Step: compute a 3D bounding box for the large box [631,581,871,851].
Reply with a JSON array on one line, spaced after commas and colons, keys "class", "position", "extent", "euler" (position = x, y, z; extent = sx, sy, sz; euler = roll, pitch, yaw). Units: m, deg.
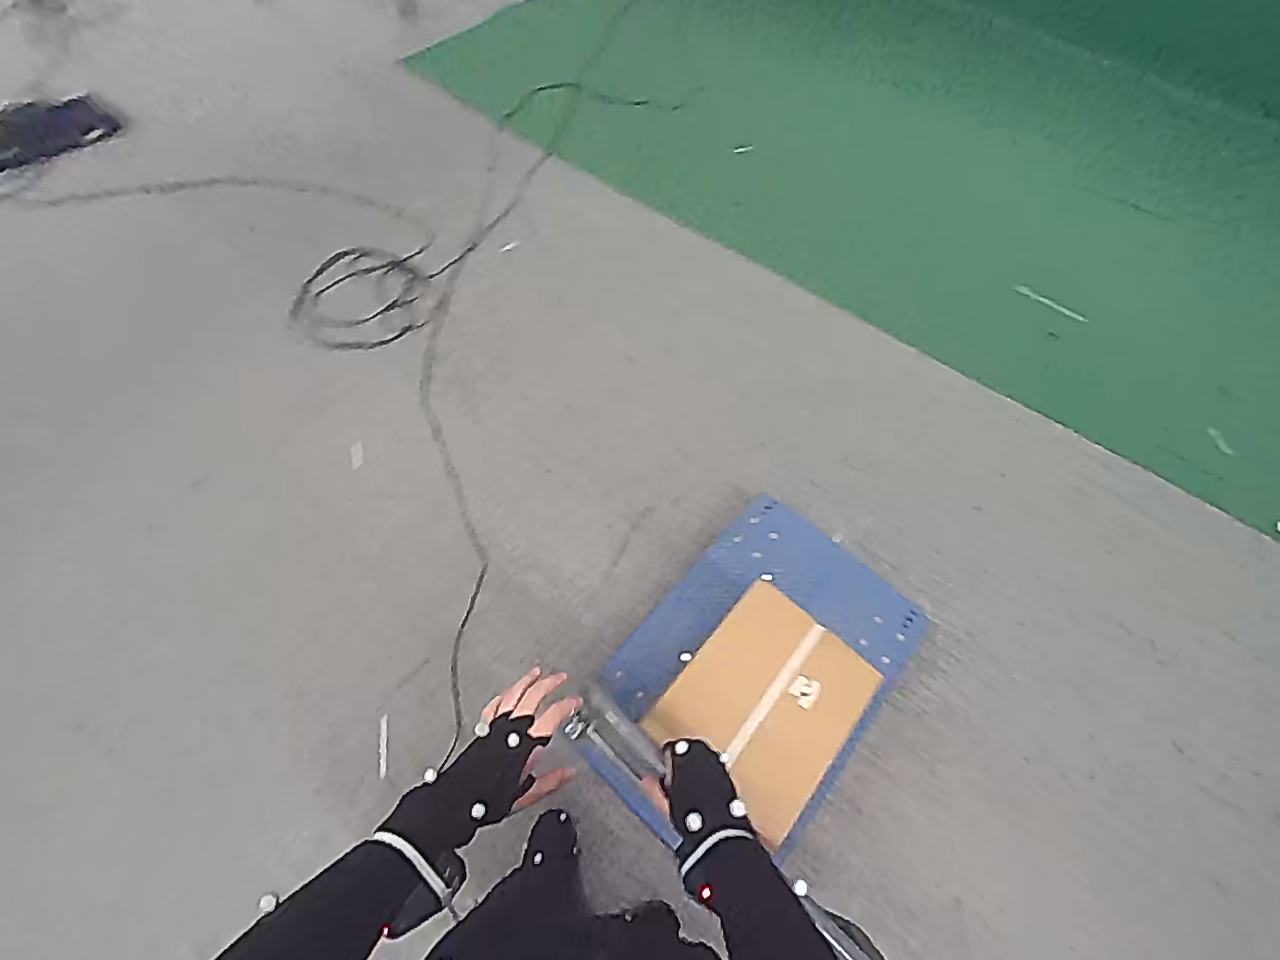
[{"class": "large box", "position": [0.225, 0.511, 1.194], "extent": [0.320, 0.320, 0.408], "euler": [39, 64, 14]}]
